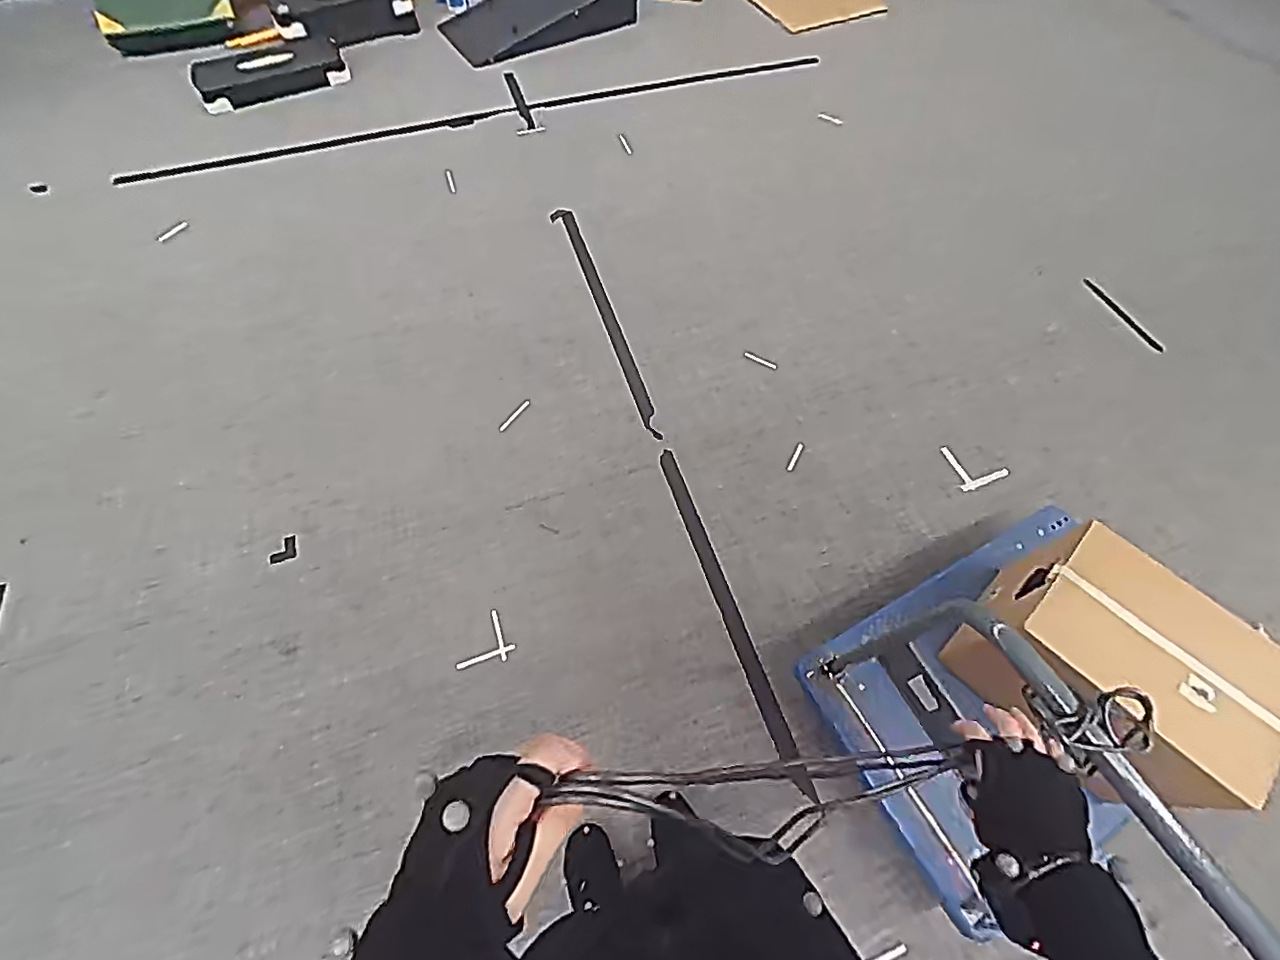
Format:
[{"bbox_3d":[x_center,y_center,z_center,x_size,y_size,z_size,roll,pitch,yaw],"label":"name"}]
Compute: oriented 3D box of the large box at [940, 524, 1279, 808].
[{"bbox_3d":[0.923,0.370,1.089,0.320,0.320,0.408,-40,71,-20],"label":"large box"}]
